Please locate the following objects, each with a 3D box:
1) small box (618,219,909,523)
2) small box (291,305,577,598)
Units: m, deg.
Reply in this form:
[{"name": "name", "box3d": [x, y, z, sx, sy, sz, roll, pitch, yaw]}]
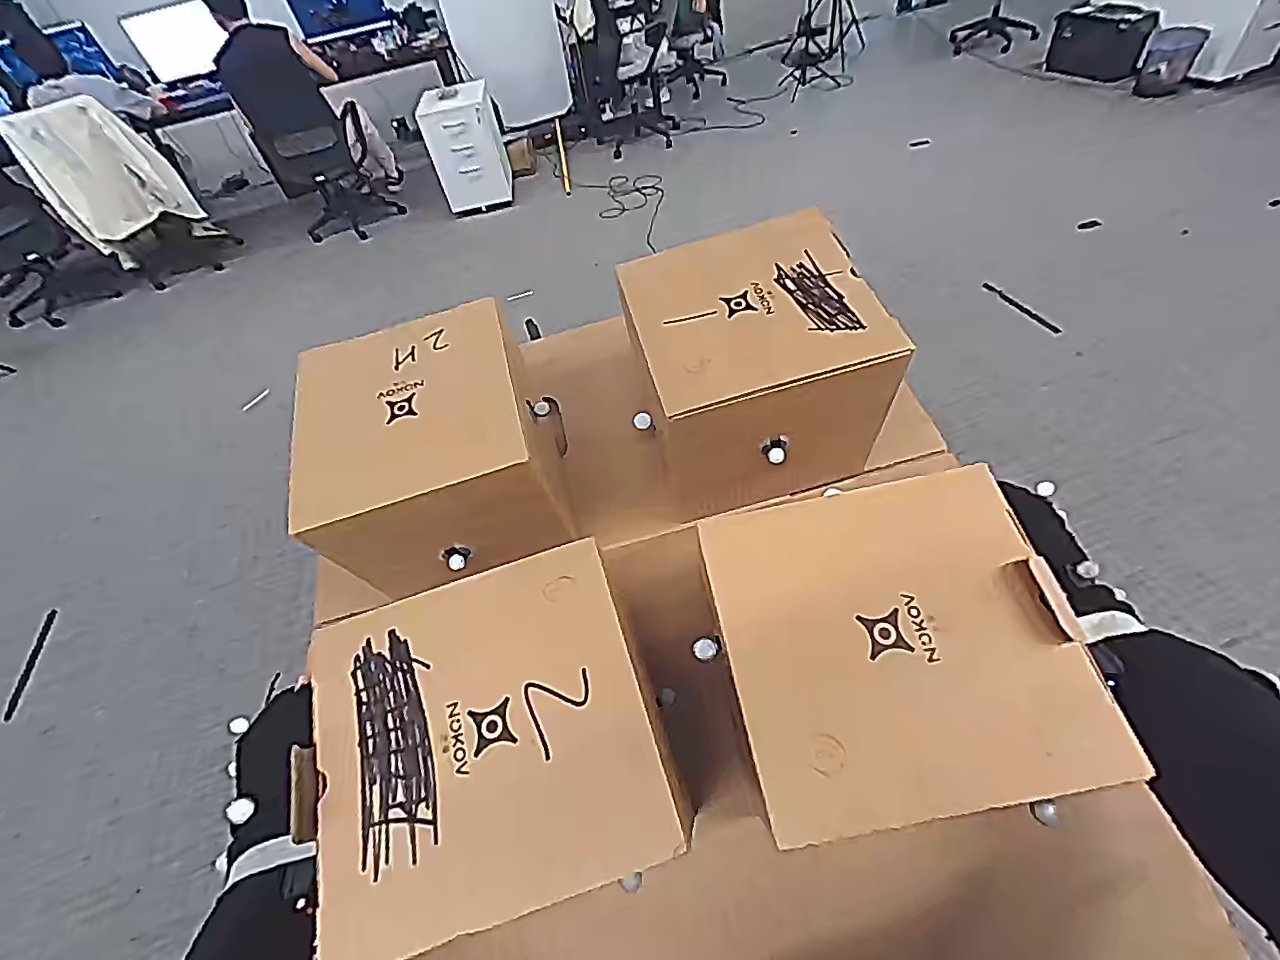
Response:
[{"name": "small box", "box3d": [0.092, -0.084, 0.470, 0.179, 0.176, 0.168, -16, 59, 1]}, {"name": "small box", "box3d": [-0.162, -0.012, 0.469, 0.168, 0.176, 0.179, -17, 58, -1]}]
